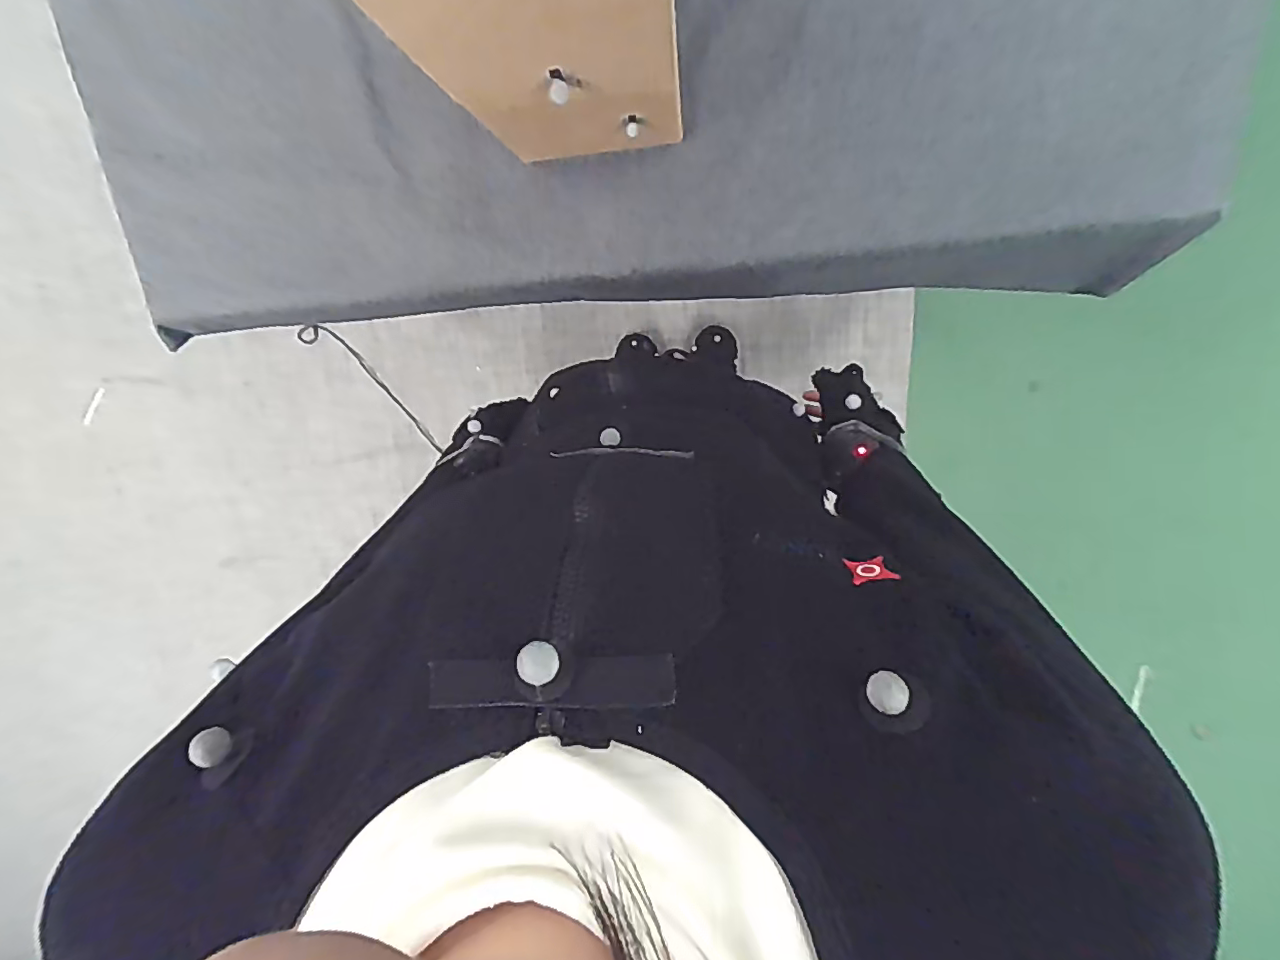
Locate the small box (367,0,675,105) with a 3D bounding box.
[{"bbox_3d":[-0.067,-0.365,0.337,0.179,0.176,0.168,-2,105,6],"label":"small box"}]

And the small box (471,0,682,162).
[{"bbox_3d":[-0.053,-0.413,0.493,0.179,0.176,0.168,-4,105,8],"label":"small box"}]
